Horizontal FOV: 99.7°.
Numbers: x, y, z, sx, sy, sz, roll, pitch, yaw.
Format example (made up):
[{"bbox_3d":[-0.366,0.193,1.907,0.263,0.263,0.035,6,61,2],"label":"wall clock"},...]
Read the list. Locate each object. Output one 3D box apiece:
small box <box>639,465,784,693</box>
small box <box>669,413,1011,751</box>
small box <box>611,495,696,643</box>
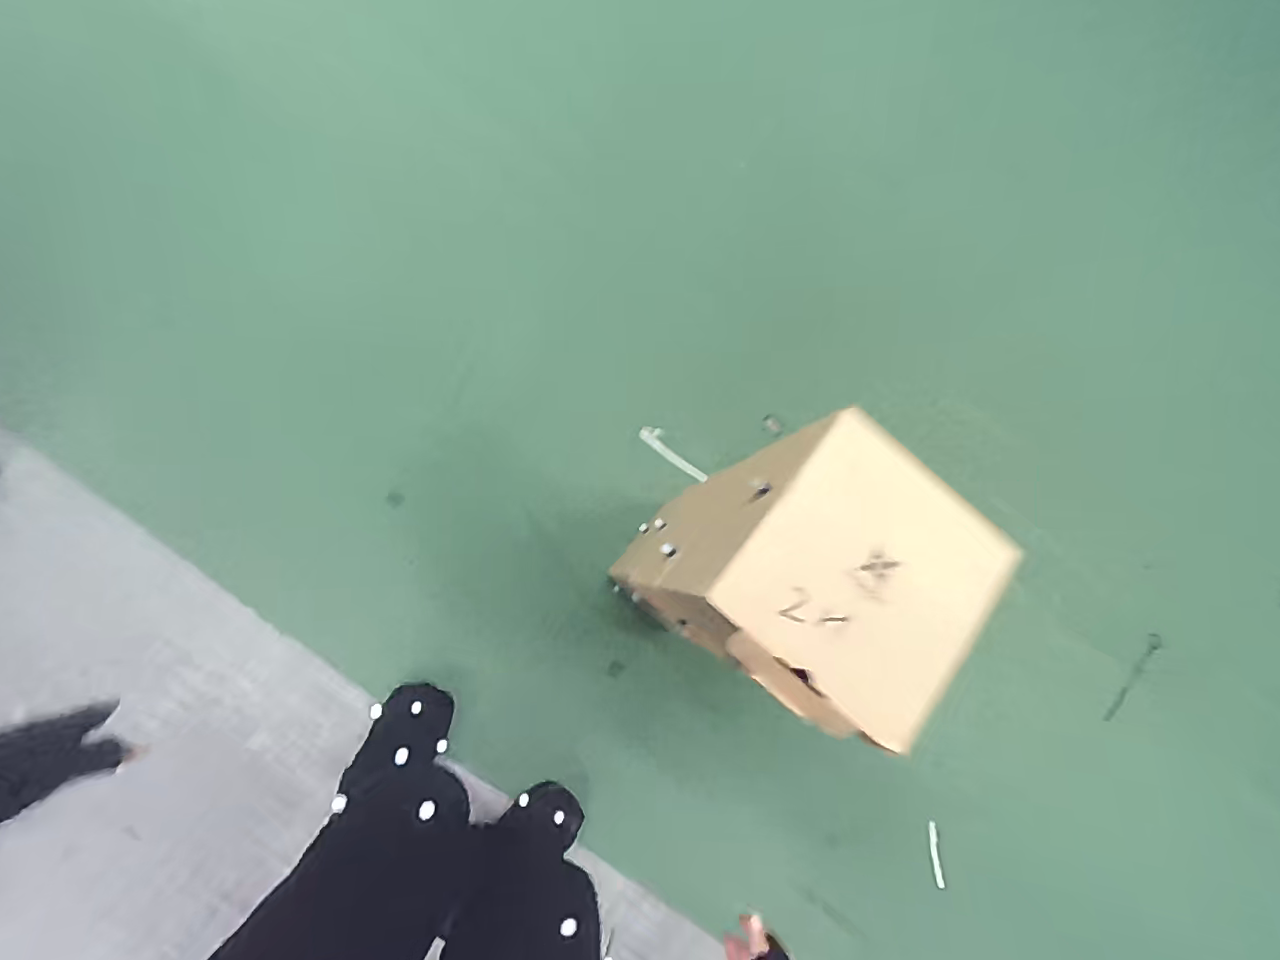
[{"bbox_3d":[0.118,0.102,0.614,0.168,0.176,0.179,40,78,-2],"label":"small box"},{"bbox_3d":[0.146,0.076,0.453,0.168,0.176,0.179,41,78,-2],"label":"small box"},{"bbox_3d":[0.062,0.150,0.933,0.168,0.176,0.179,39,79,-2],"label":"small box"}]
